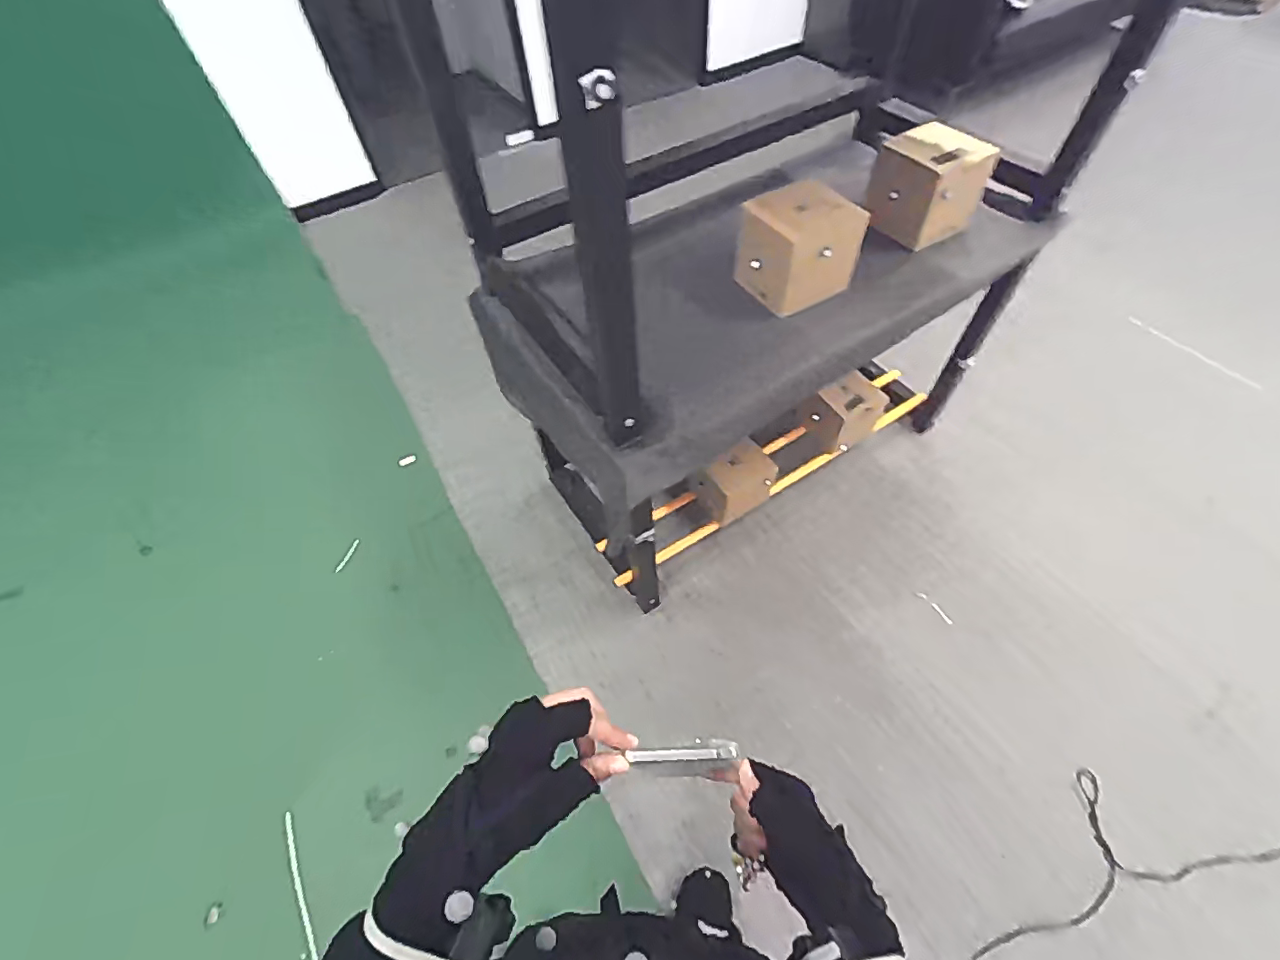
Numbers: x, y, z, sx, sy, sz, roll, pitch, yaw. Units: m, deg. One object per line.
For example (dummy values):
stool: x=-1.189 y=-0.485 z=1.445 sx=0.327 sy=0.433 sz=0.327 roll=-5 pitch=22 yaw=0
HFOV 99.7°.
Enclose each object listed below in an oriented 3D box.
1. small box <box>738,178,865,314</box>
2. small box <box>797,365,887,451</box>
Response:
small box: x=0.308 y=-0.461 z=1.078 sx=0.179 sy=0.176 sz=0.168 roll=-27 pitch=58 yaw=-14
small box: x=0.607 y=-0.210 z=1.644 sx=0.168 sy=0.176 sz=0.179 roll=-26 pitch=58 yaw=-14
